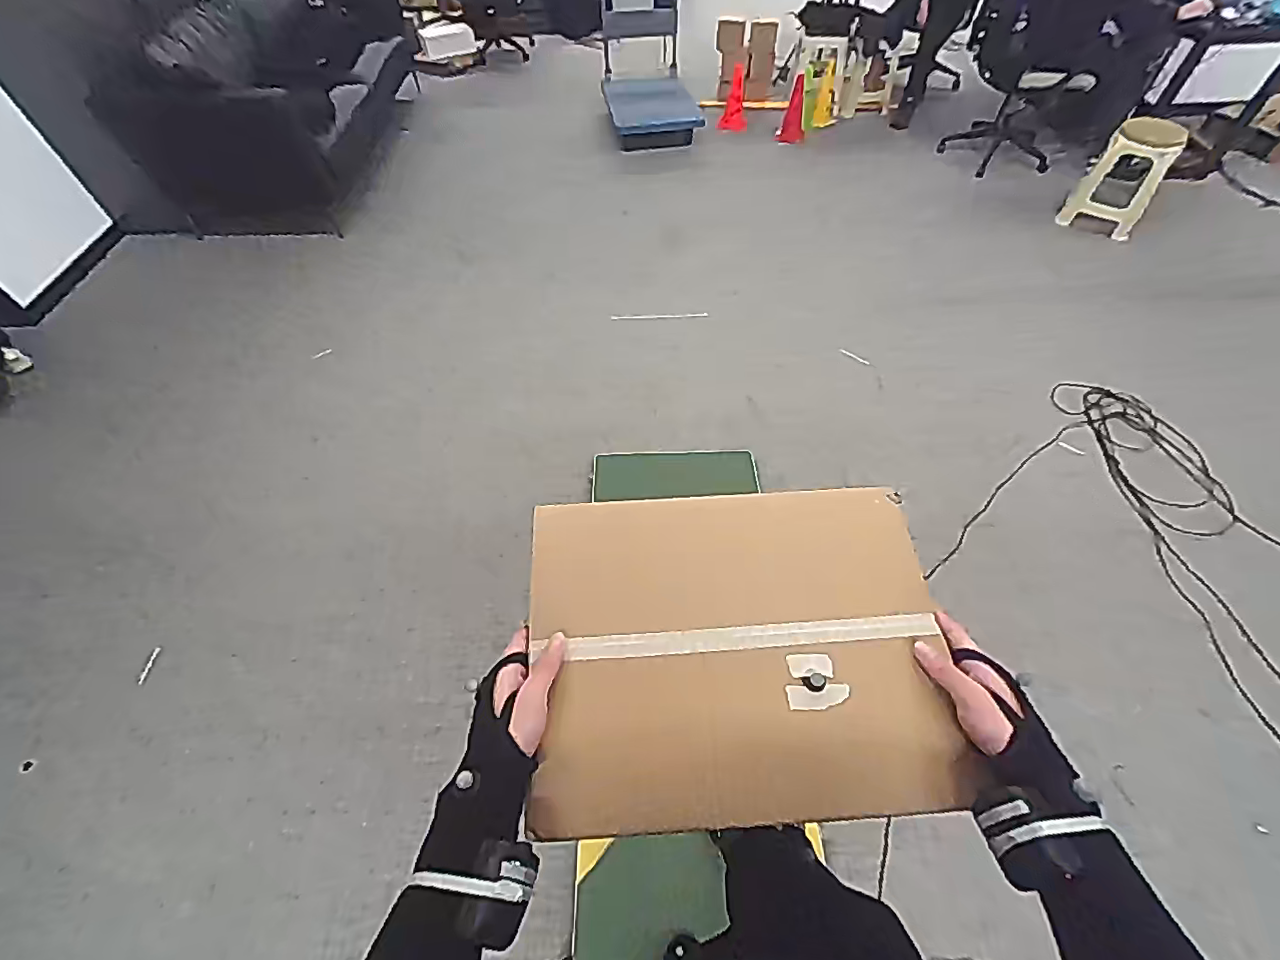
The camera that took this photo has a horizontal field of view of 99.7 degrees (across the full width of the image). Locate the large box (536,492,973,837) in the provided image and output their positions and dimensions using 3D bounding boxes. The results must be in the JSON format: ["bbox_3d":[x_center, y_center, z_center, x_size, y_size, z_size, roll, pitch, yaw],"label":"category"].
[{"bbox_3d":[0.091,0.233,0.678,0.408,0.320,0.320,-3,62,-3],"label":"large box"}]
